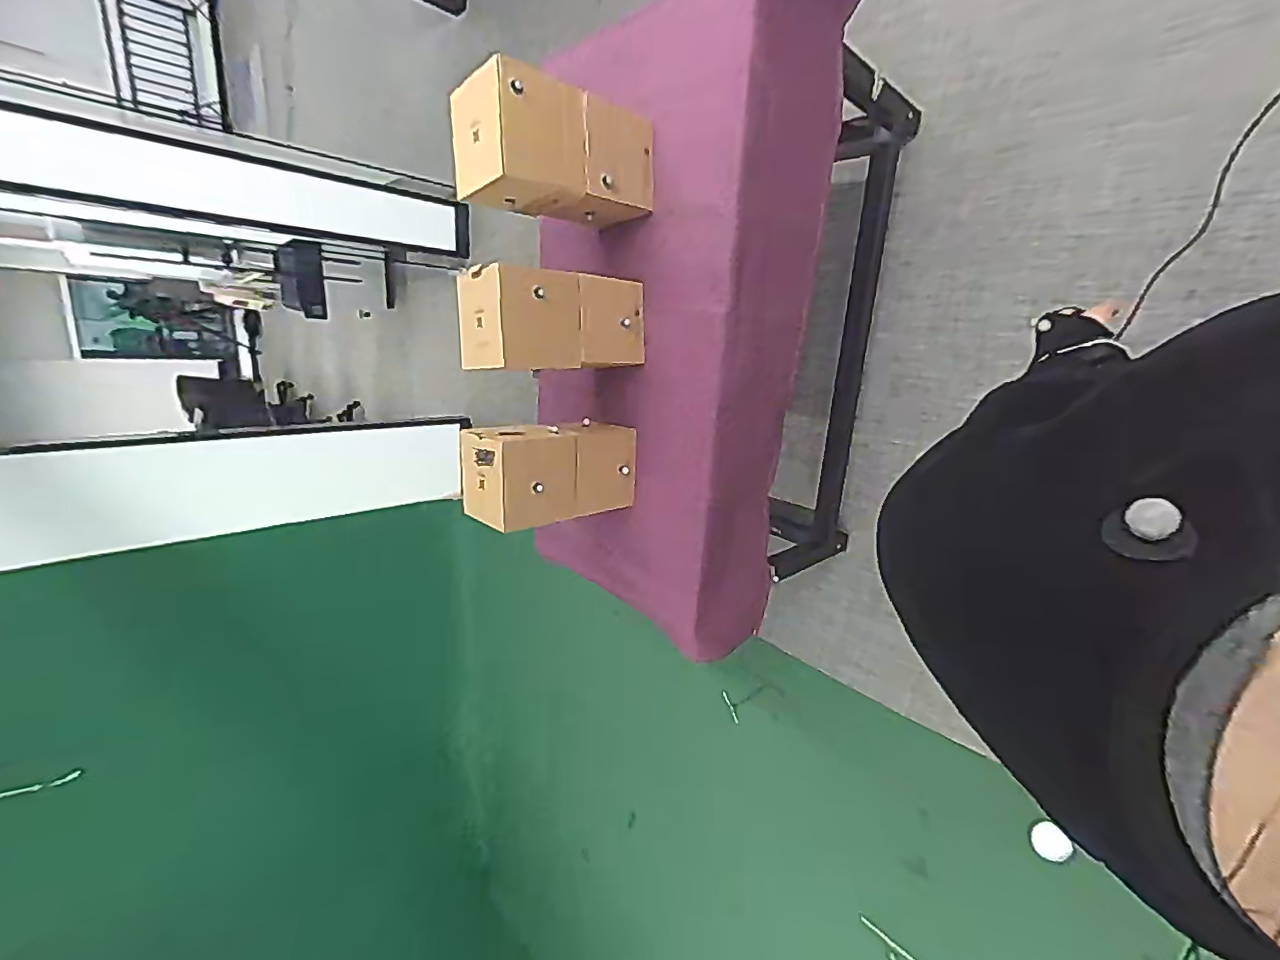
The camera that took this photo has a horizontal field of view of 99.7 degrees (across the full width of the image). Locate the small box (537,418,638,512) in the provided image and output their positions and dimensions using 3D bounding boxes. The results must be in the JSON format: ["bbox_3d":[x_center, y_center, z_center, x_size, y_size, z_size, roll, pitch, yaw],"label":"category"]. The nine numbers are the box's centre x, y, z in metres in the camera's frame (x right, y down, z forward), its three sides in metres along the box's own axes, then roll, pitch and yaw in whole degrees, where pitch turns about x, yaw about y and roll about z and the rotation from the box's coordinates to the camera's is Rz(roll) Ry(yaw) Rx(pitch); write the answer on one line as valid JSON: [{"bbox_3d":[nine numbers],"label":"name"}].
[{"bbox_3d":[-0.120,-0.044,1.215,0.168,0.176,0.179,16,110,45],"label":"small box"}]

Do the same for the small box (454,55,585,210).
[{"bbox_3d":[-0.209,-0.594,0.958,0.168,0.176,0.179,10,105,46],"label":"small box"}]

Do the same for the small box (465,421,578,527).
[{"bbox_3d":[-0.239,-0.022,1.104,0.168,0.176,0.179,16,110,44],"label":"small box"}]

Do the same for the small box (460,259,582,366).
[{"bbox_3d":[-0.224,-0.308,1.032,0.168,0.176,0.179,12,107,46],"label":"small box"}]

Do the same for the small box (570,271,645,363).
[{"bbox_3d":[-0.107,-0.334,1.144,0.179,0.176,0.168,9,105,45],"label":"small box"}]
